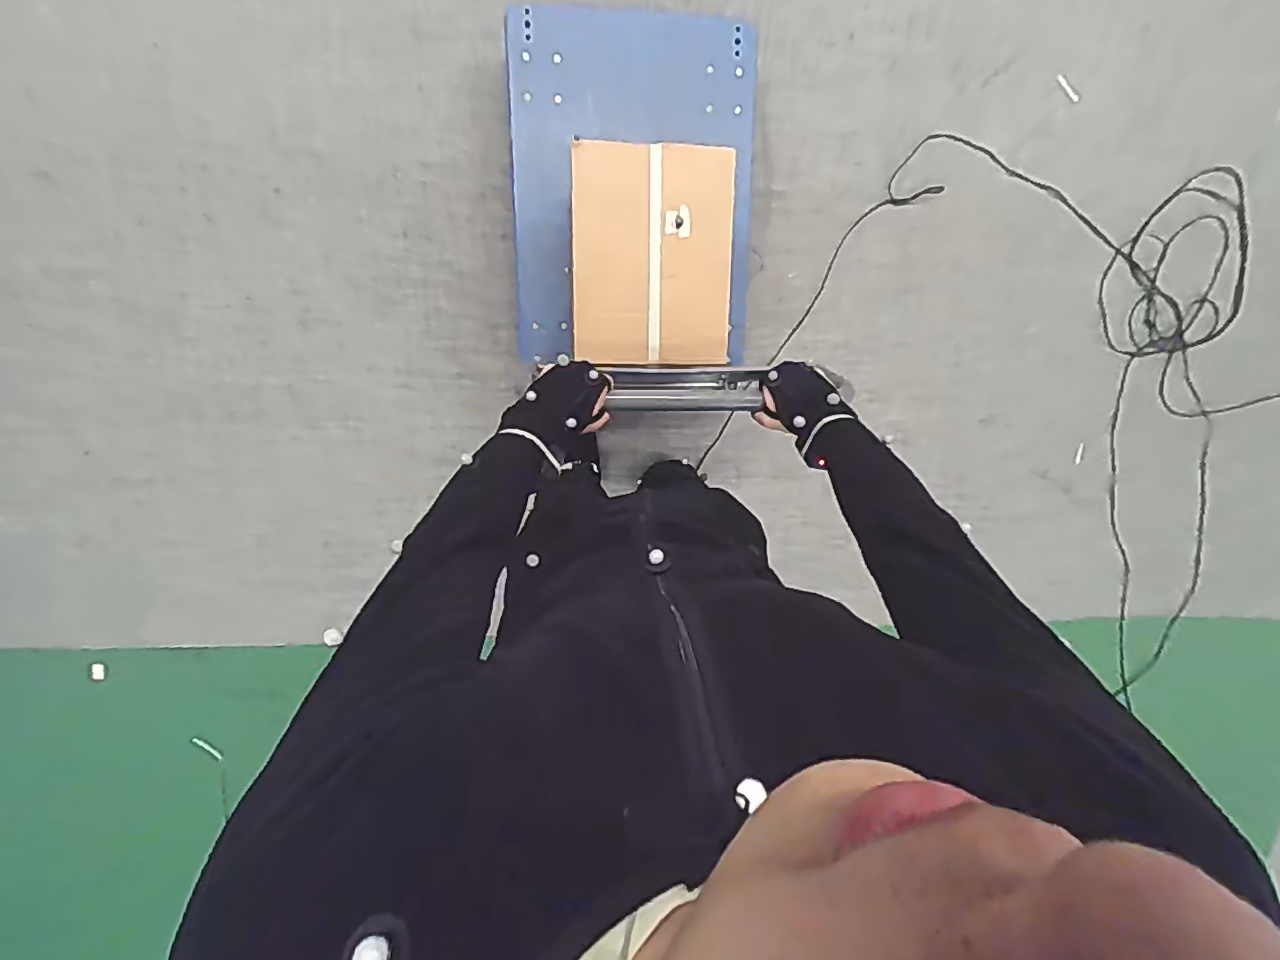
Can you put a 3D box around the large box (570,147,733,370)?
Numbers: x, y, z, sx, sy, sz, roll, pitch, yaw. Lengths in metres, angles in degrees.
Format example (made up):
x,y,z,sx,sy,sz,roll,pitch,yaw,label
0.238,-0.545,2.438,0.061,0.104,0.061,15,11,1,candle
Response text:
x,y,z,sx,sy,sz,roll,pitch,yaw,label
0.011,-0.451,1.192,0.320,0.320,0.408,-1,101,-7,large box
